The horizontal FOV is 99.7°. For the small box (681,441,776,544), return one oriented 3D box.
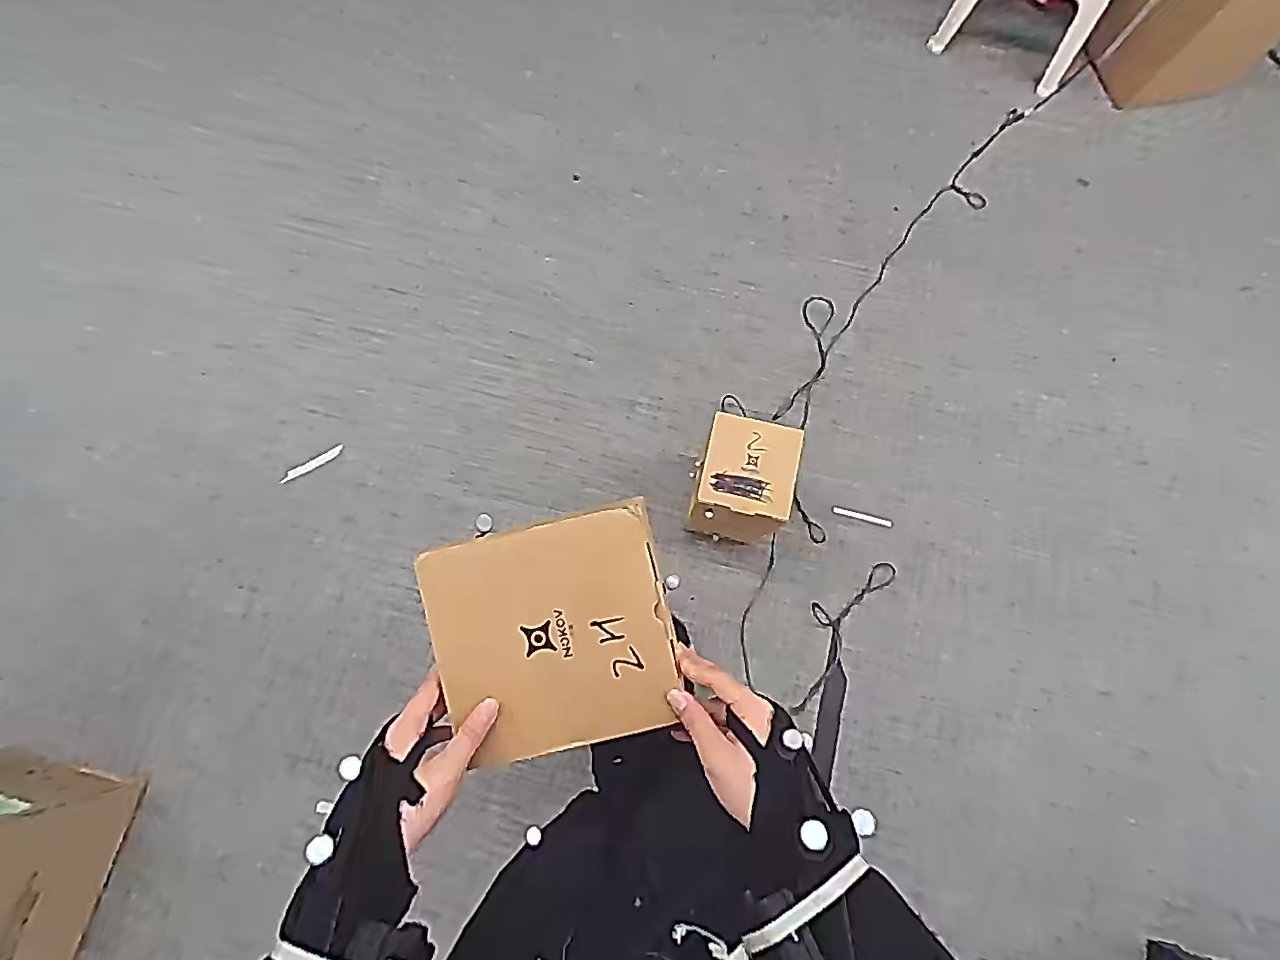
[{"bbox_3d":[0.190,0.034,1.204,0.168,0.176,0.179,12,77,4],"label":"small box"}]
